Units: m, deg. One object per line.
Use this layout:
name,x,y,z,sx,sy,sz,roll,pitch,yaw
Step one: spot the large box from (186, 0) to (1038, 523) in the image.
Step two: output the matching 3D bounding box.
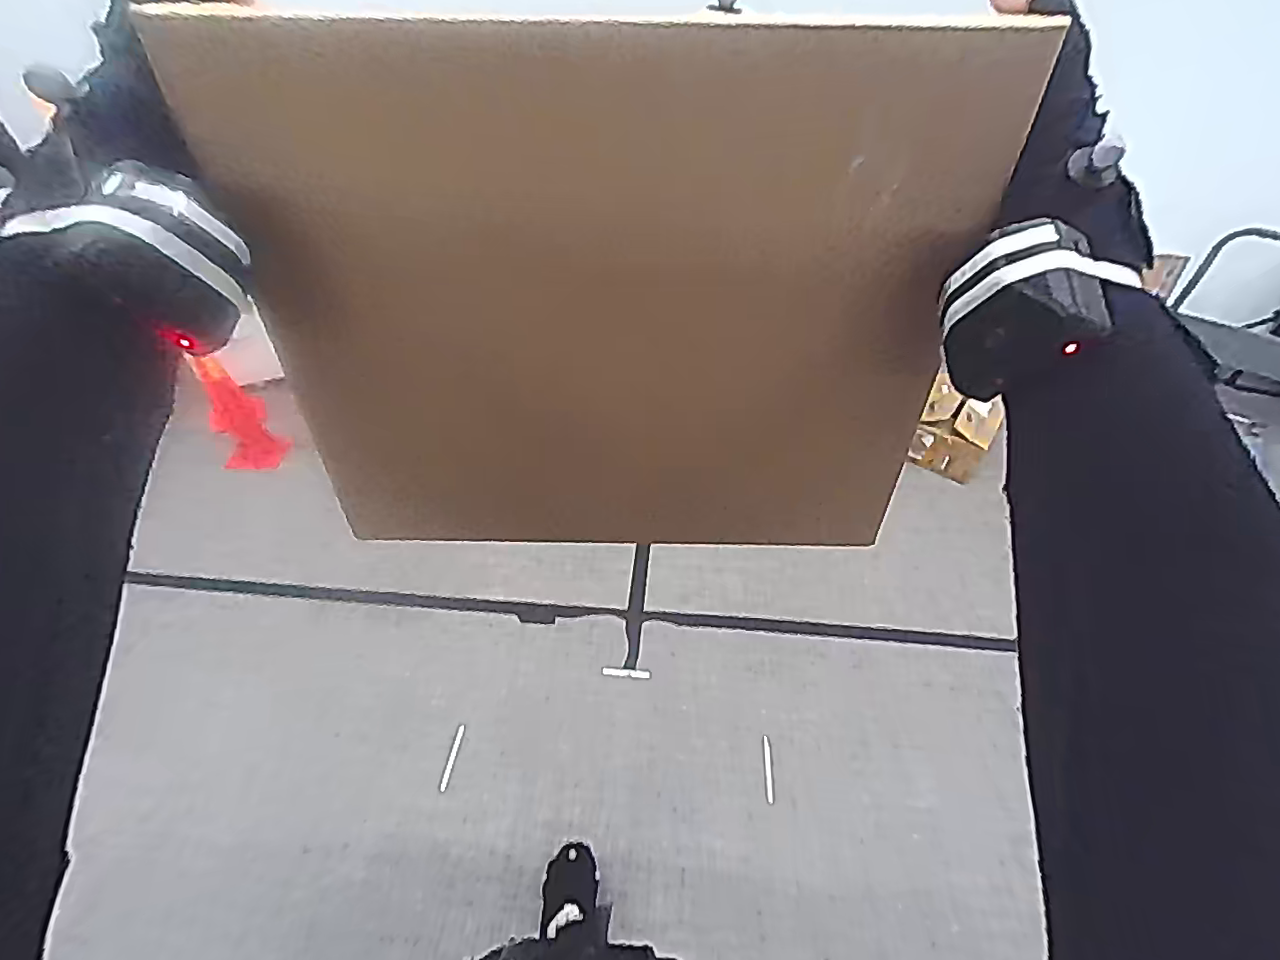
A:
large box,-0.015,-0.175,0.454,0.408,0.320,0.320,2,38,-1
